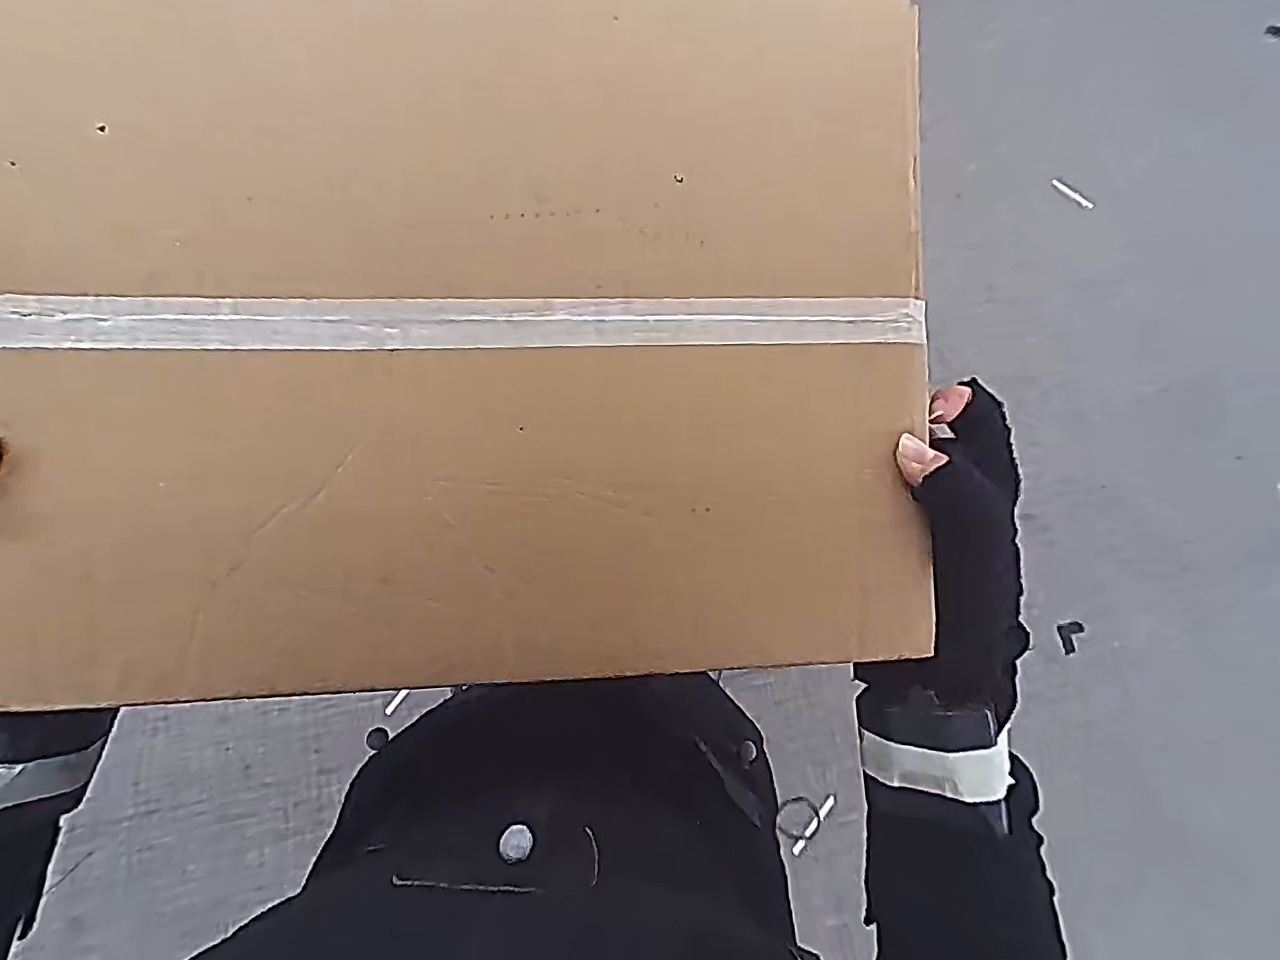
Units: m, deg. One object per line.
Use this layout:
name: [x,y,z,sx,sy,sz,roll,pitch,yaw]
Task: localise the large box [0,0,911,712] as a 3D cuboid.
large box: [-0.080,-0.061,0.395,0.408,0.320,0.320,-1,89,-5]
